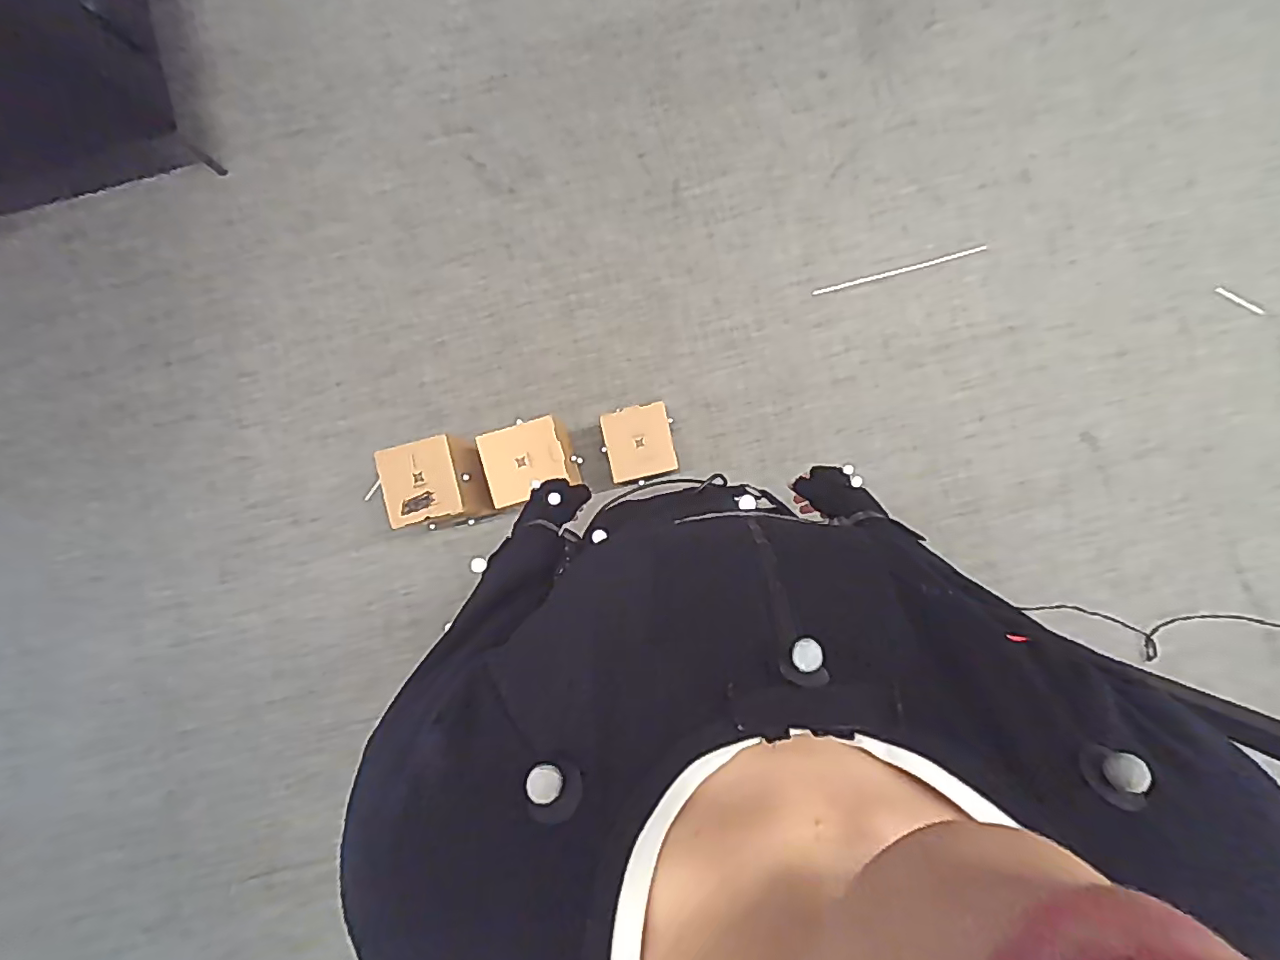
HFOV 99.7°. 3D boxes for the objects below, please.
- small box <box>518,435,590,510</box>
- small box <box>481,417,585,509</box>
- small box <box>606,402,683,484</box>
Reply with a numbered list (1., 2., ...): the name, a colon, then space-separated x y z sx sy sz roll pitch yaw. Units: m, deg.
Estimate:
1. small box: -0.237 -0.024 1.409 0.168 0.176 0.179 -16 87 3
2. small box: -0.238 -0.034 1.247 0.179 0.176 0.168 -17 89 1
3. small box: 0.012 -0.090 1.405 0.168 0.176 0.179 -13 89 2
